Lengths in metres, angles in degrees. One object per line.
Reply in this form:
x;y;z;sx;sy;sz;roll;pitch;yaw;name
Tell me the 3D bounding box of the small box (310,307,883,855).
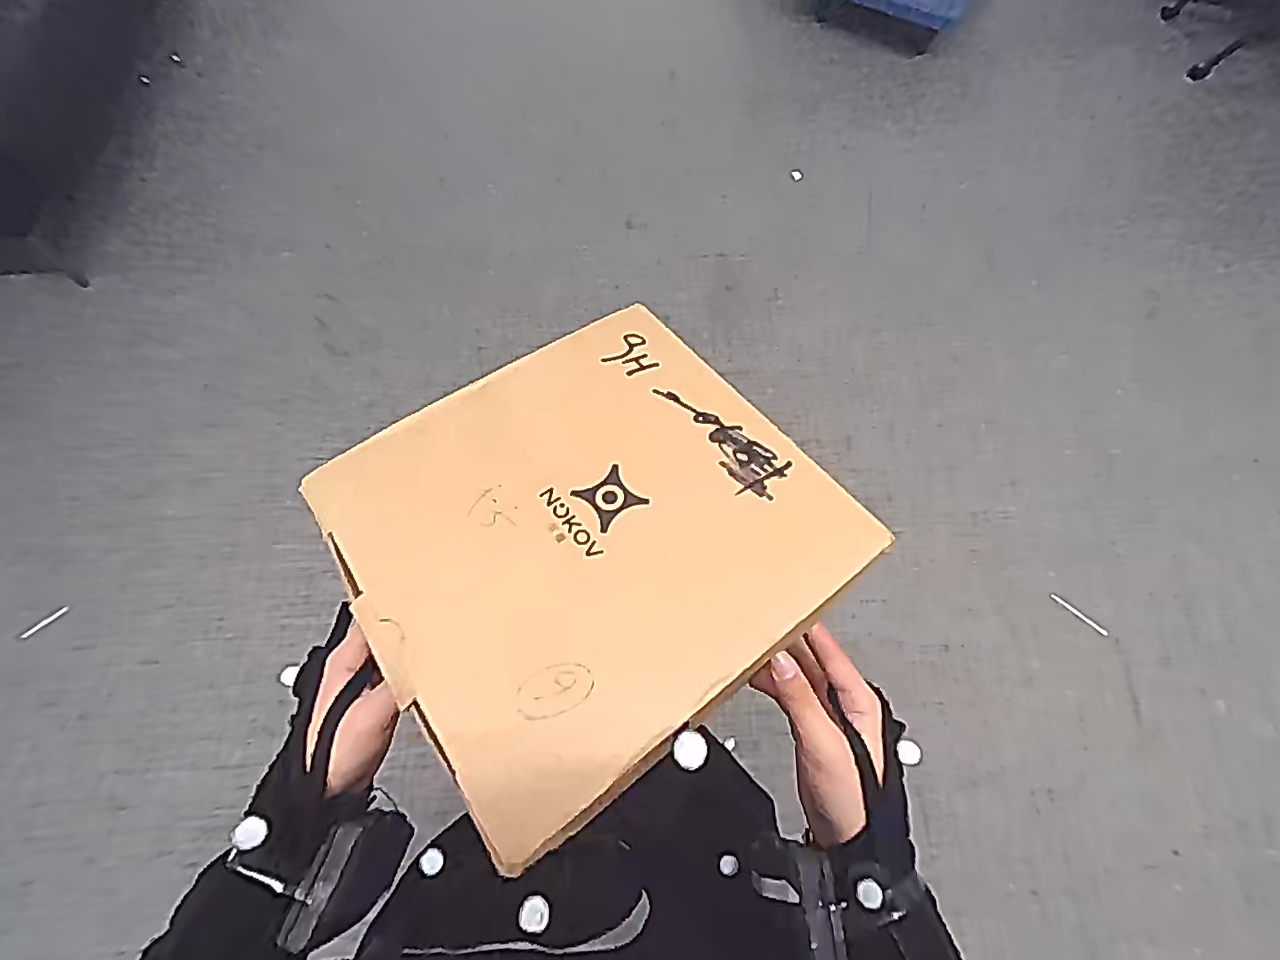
-0.020;0.053;0.283;0.179;0.176;0.168;-33;65;-18;small box
